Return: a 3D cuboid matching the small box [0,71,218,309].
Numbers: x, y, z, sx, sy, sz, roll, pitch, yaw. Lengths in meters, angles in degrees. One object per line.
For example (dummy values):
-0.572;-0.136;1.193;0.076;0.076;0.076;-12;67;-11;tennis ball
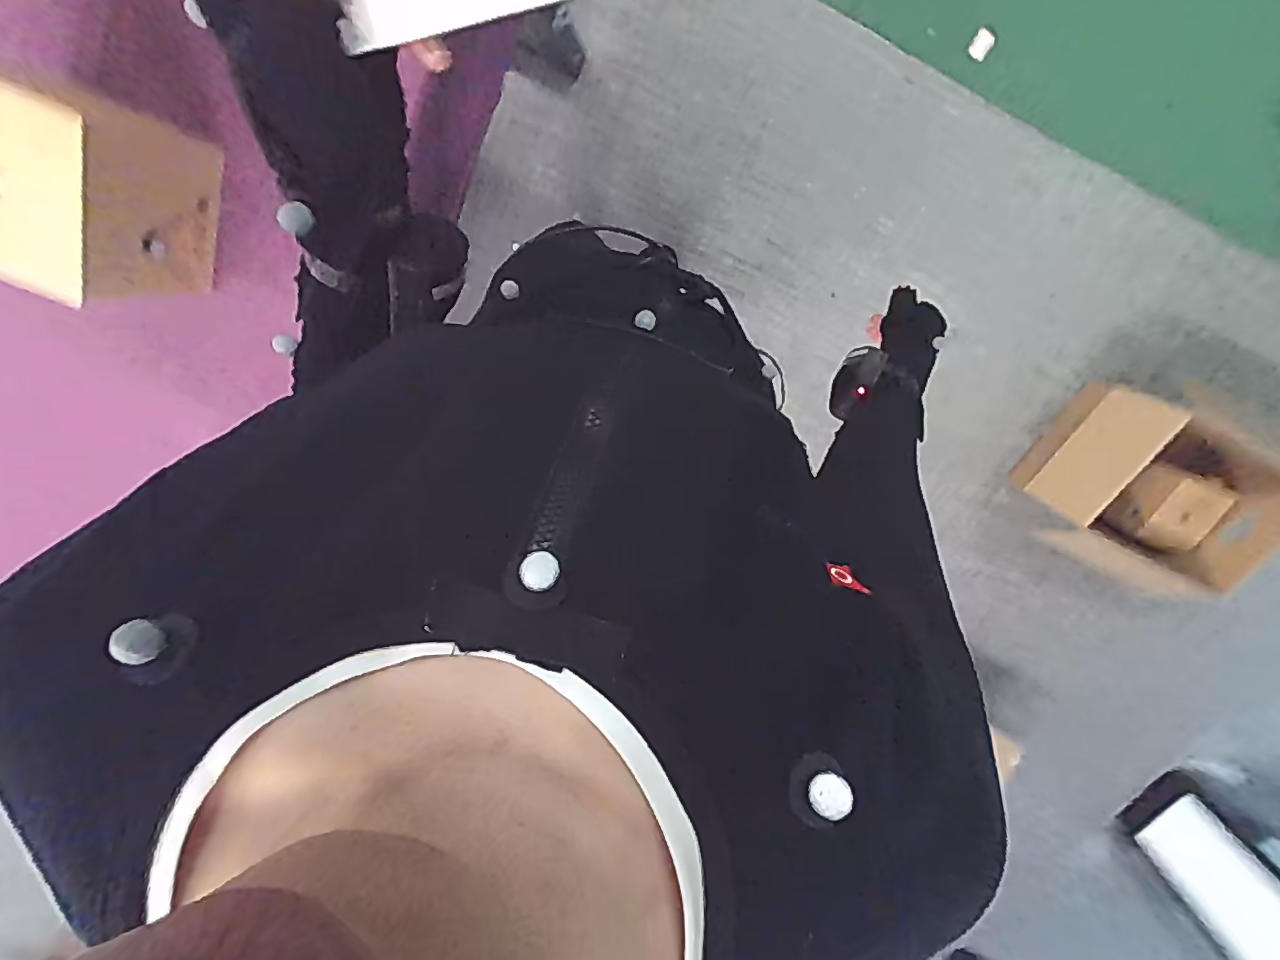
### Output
-0.575;-0.293;0.548;0.179;0.176;0.168;21;112;-6;small box
